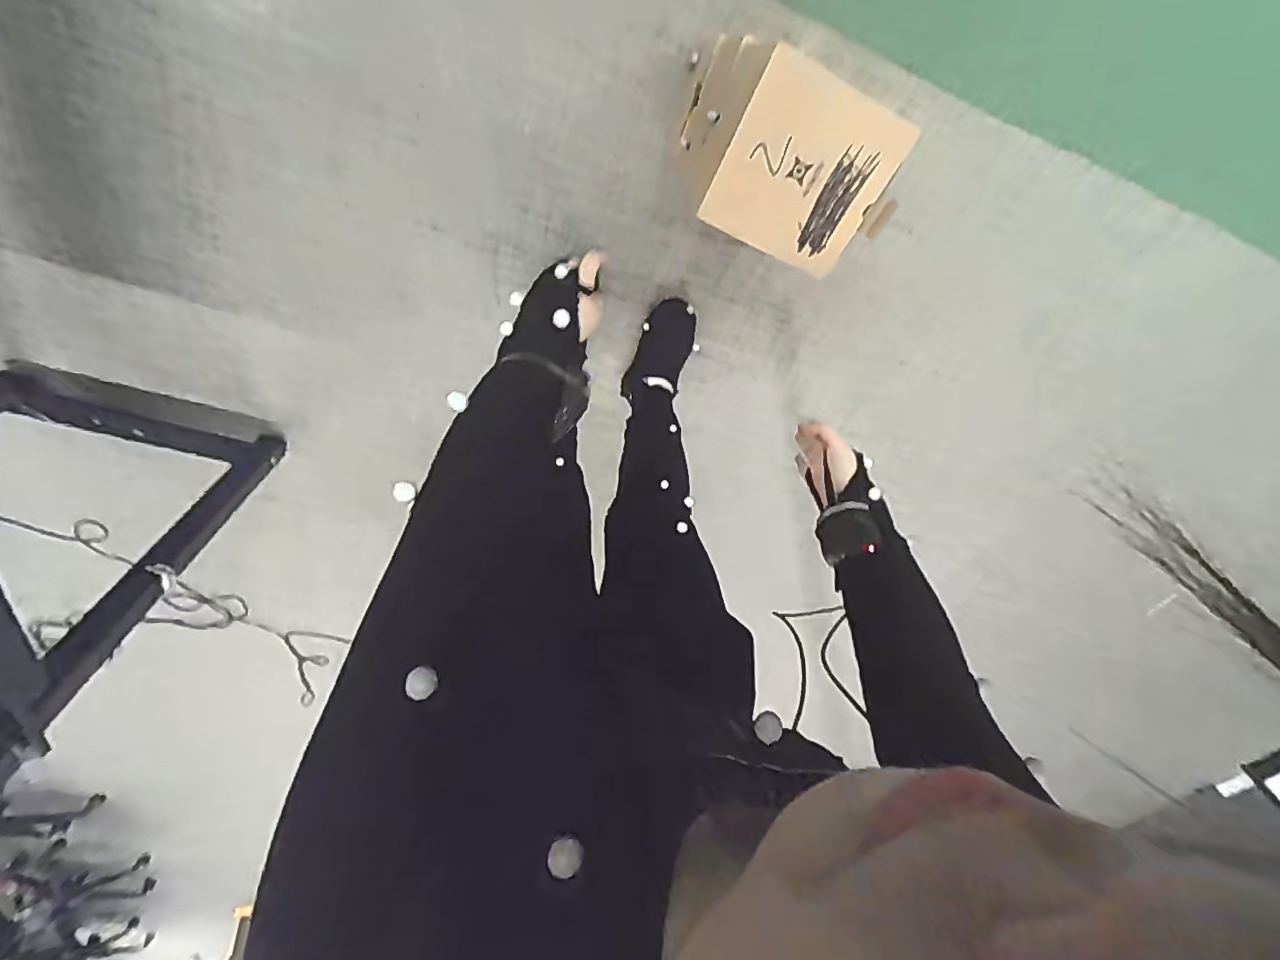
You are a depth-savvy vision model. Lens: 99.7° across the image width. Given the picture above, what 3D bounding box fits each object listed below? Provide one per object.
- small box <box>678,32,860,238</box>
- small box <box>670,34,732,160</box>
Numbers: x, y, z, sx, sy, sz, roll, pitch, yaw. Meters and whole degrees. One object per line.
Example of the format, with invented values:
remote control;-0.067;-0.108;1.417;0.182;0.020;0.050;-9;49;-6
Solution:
small box;0.159;-0.468;0.741;0.168;0.176;0.179;16;125;-15
small box;0.159;-0.571;0.866;0.179;0.176;0.168;17;125;-15
